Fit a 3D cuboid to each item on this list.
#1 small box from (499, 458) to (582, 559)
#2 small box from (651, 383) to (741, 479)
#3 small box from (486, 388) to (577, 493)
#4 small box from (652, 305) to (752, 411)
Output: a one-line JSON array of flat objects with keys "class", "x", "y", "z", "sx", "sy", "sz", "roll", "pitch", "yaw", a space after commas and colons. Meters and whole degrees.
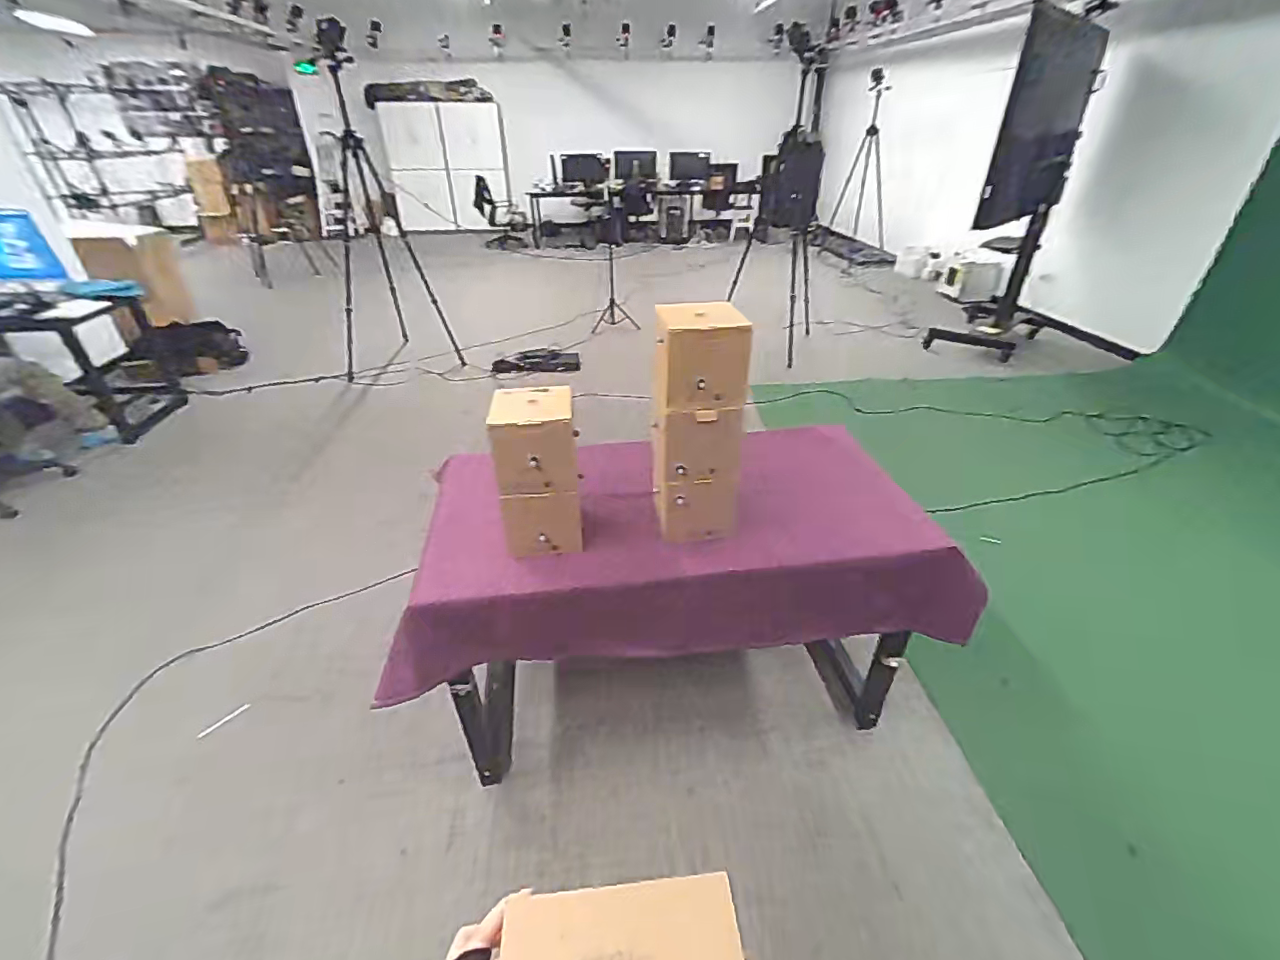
[{"class": "small box", "x": -0.222, "y": 0.060, "z": 1.243, "sx": 0.168, "sy": 0.176, "sz": 0.179, "roll": -5, "pitch": 33, "yaw": -5}, {"class": "small box", "x": 0.119, "y": -0.112, "z": 1.198, "sx": 0.168, "sy": 0.176, "sz": 0.179, "roll": -5, "pitch": 32, "yaw": -7}, {"class": "small box", "x": -0.224, "y": -0.081, "z": 1.157, "sx": 0.168, "sy": 0.176, "sz": 0.179, "roll": -4, "pitch": 33, "yaw": -6}, {"class": "small box", "x": 0.118, "y": -0.254, "z": 1.119, "sx": 0.168, "sy": 0.176, "sz": 0.179, "roll": -5, "pitch": 33, "yaw": -7}]
